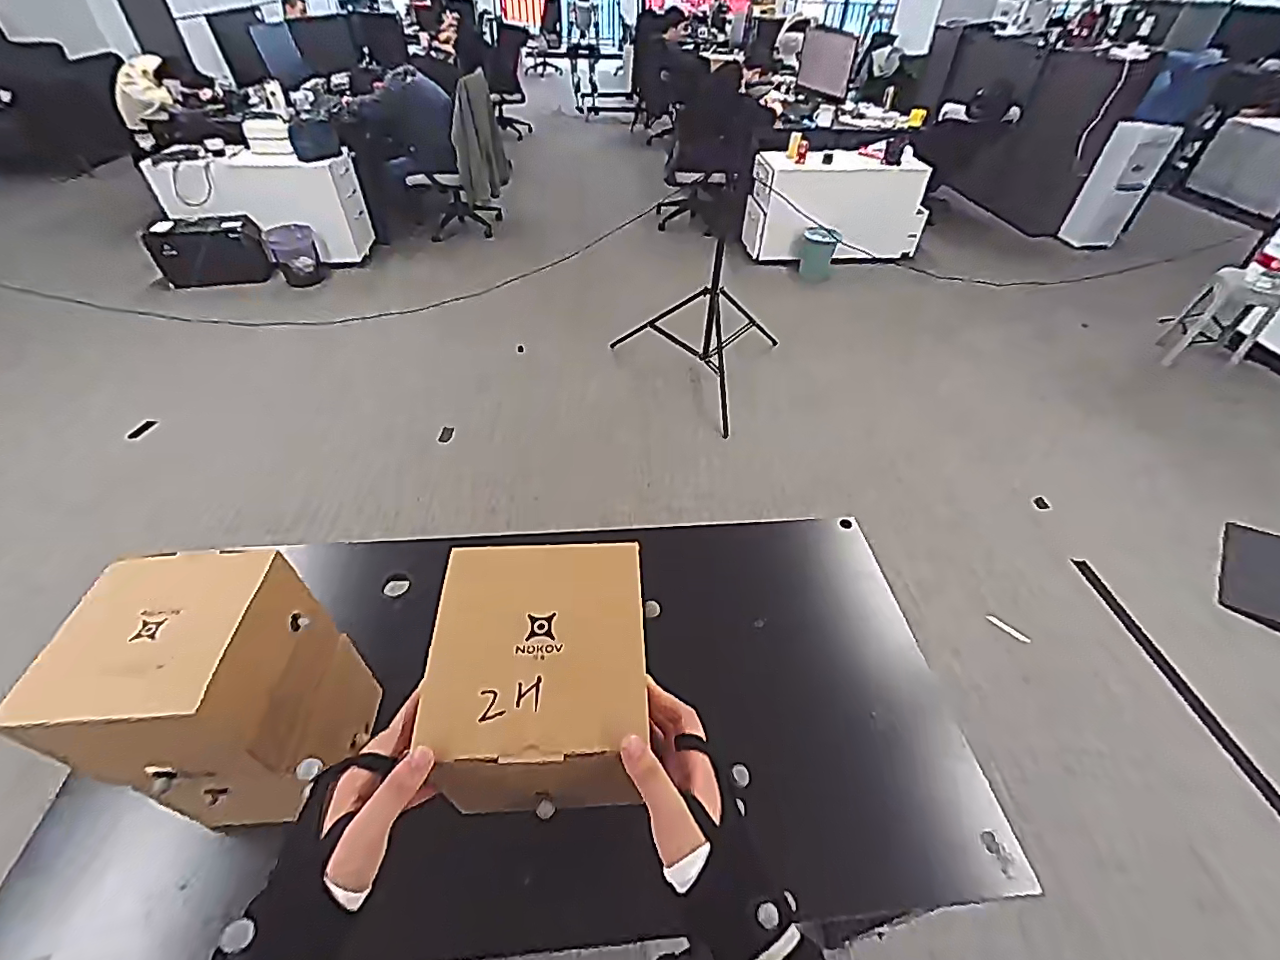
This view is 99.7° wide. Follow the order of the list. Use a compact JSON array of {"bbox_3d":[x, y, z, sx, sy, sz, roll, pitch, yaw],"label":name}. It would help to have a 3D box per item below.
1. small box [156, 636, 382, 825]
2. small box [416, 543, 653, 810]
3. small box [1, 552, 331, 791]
[{"bbox_3d":[-0.455,0.314,0.677,0.179,0.176,0.168,-1,44,-5],"label":"small box"},{"bbox_3d":[-0.078,0.176,0.486,0.168,0.176,0.179,-2,48,-3],"label":"small box"},{"bbox_3d":[-0.453,0.197,0.563,0.168,0.176,0.179,-3,45,-4],"label":"small box"}]
